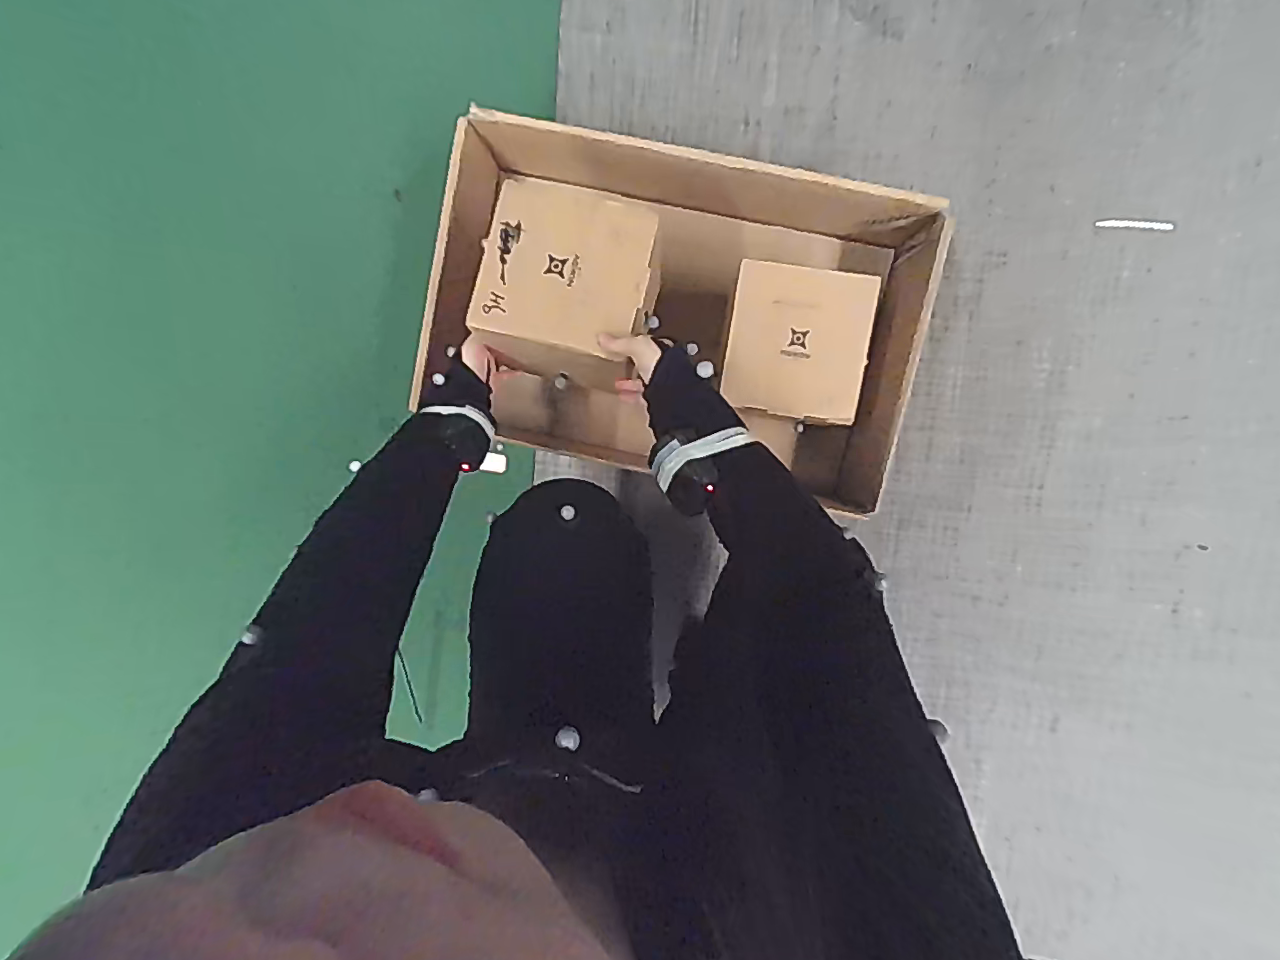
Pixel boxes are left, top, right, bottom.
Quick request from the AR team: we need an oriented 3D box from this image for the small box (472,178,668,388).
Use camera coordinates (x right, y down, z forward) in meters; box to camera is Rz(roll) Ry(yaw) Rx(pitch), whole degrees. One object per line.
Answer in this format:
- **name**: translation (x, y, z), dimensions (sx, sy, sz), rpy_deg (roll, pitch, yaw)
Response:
- **small box**: translation (-0.073, -0.218, 0.648), dimensions (0.179, 0.176, 0.168), rpy_deg (14, 87, 1)
